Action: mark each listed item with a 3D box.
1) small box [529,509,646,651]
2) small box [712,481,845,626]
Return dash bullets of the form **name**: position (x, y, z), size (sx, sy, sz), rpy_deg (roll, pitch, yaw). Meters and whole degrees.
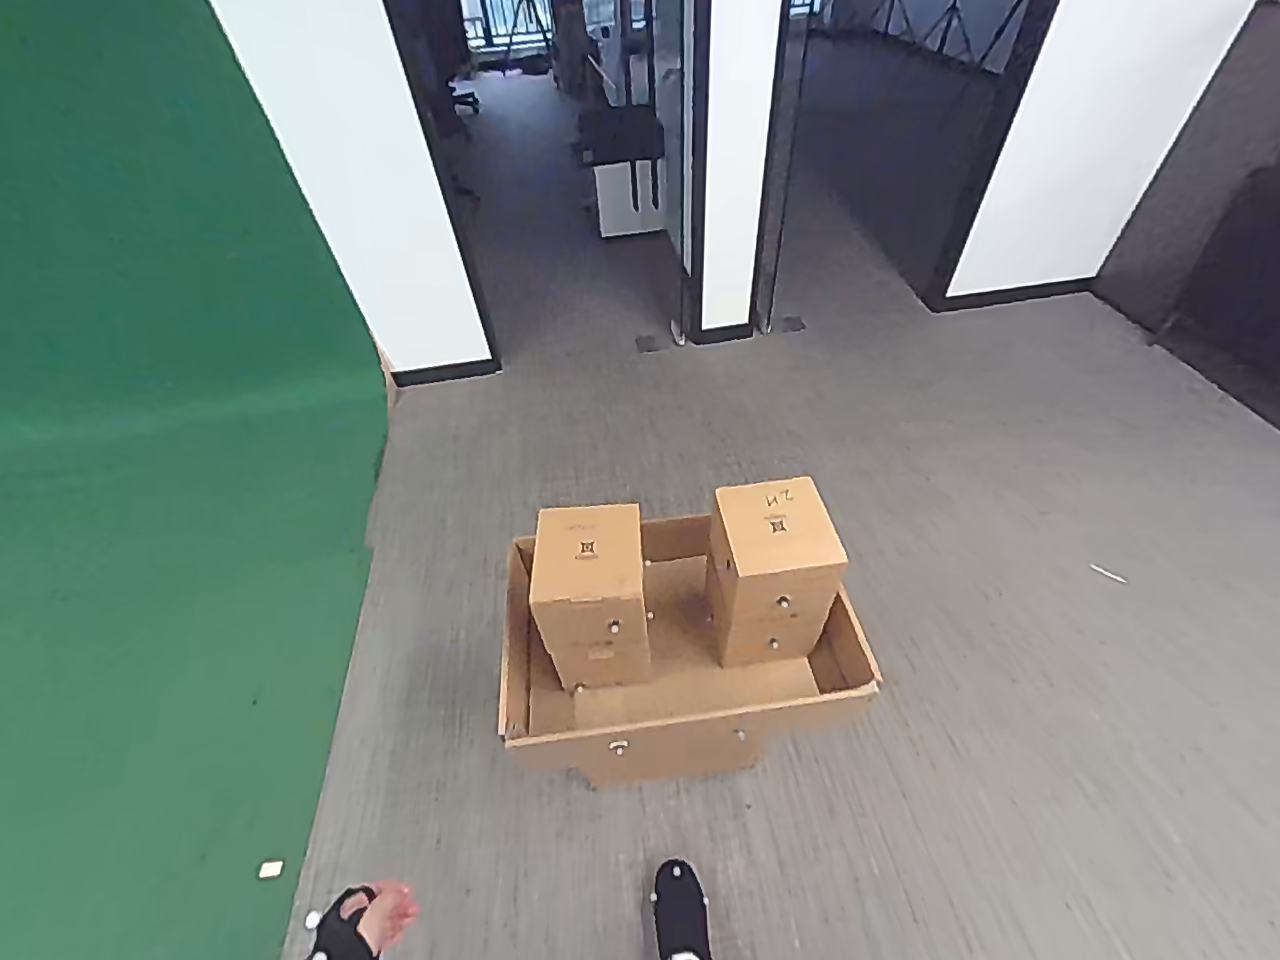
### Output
- **small box**: position (-0.076, 0.169, 0.885), size (0.168, 0.176, 0.179), rpy_deg (-3, 46, 1)
- **small box**: position (0.217, 0.128, 0.896), size (0.168, 0.176, 0.179), rpy_deg (-7, 47, -2)
